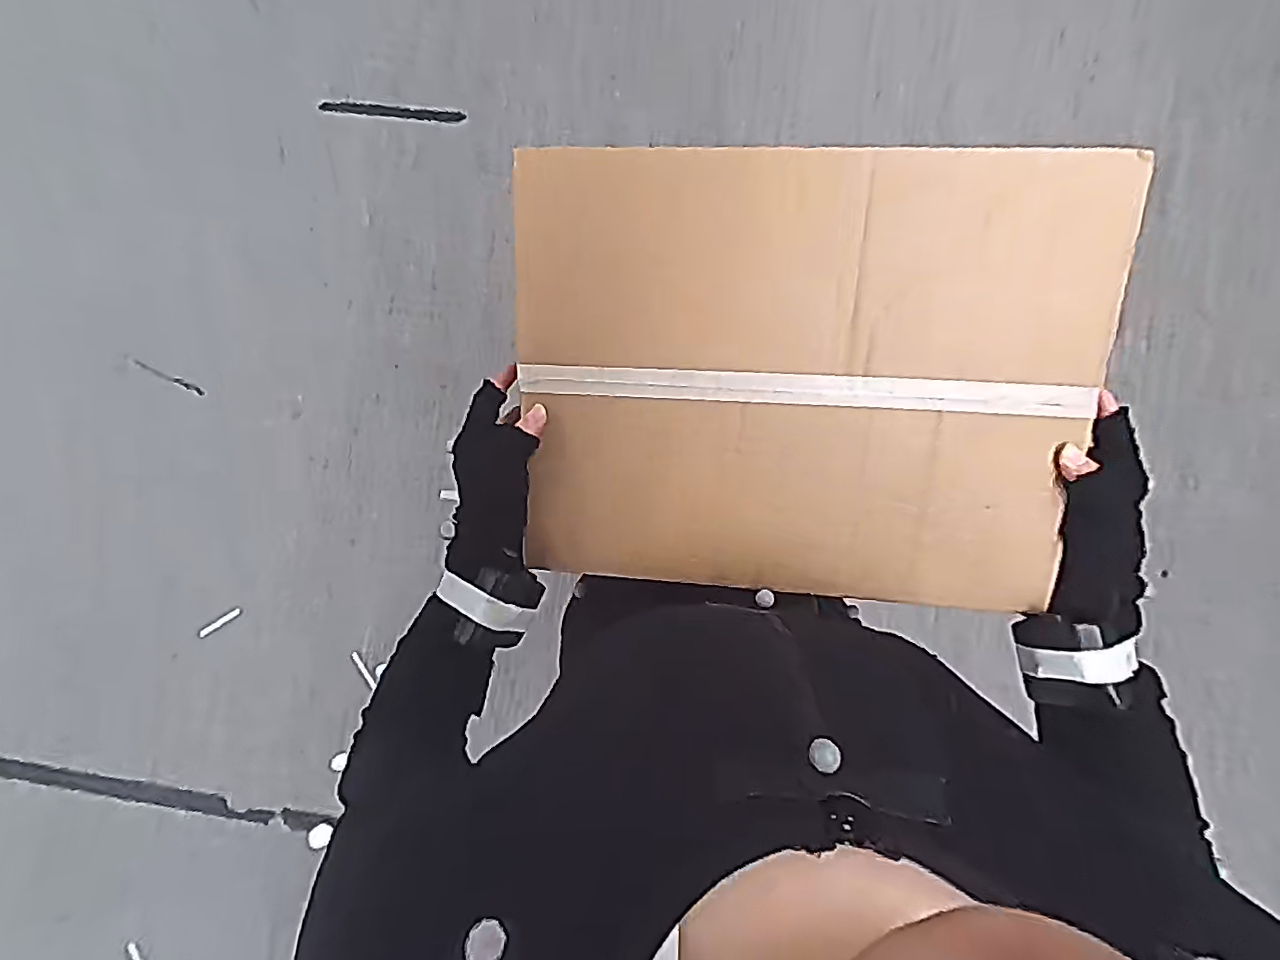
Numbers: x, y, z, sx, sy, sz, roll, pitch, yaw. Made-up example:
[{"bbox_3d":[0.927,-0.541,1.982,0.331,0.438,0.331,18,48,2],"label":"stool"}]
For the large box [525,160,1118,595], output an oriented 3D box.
[{"bbox_3d":[0.125,-0.103,0.549,0.408,0.320,0.320,4,105,6],"label":"large box"}]
